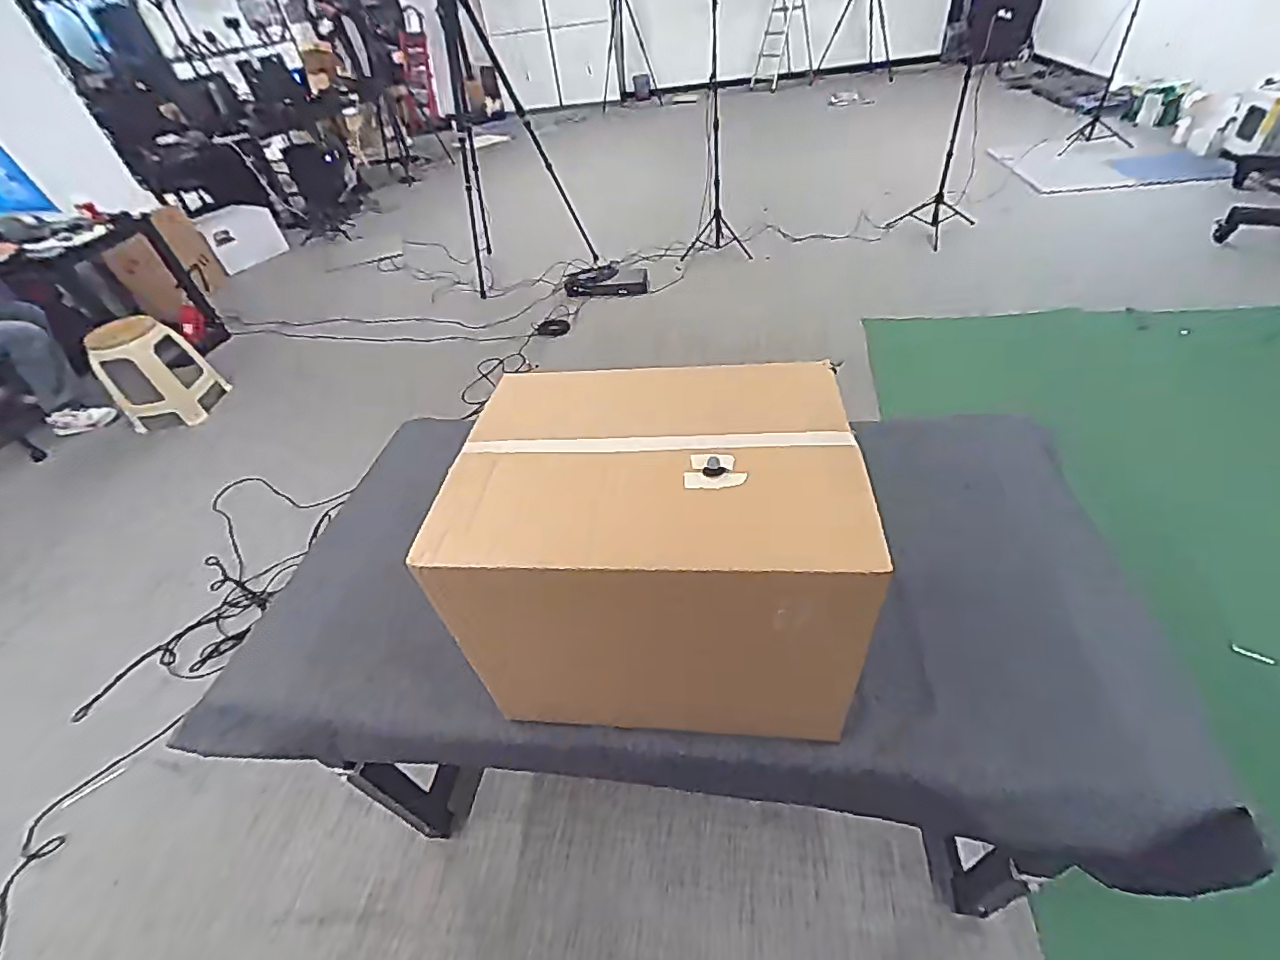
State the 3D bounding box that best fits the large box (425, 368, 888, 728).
[{"bbox_3d":[0.029,0.080,0.661,0.408,0.320,0.320,0,42,8],"label":"large box"}]
